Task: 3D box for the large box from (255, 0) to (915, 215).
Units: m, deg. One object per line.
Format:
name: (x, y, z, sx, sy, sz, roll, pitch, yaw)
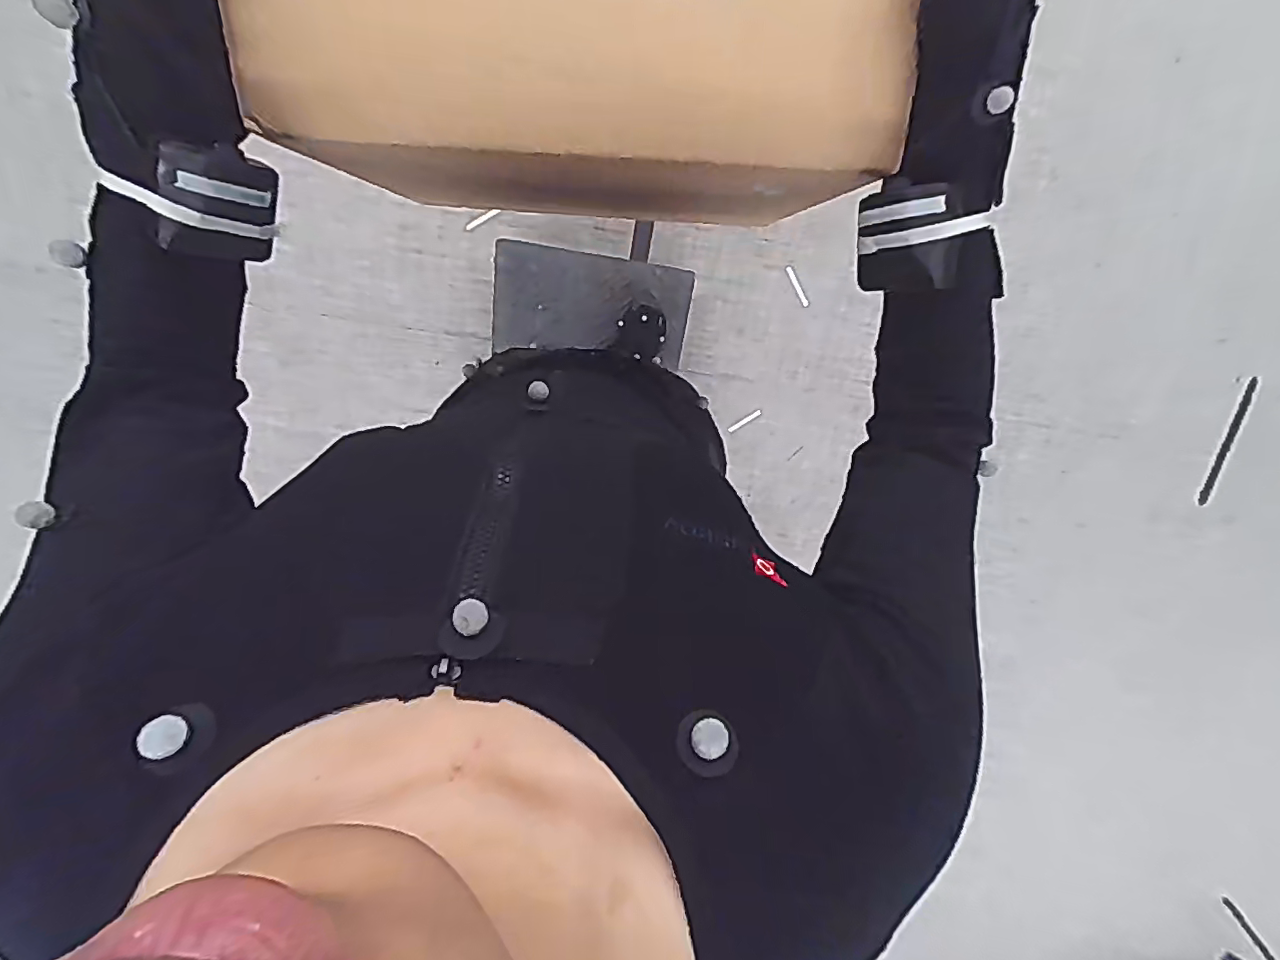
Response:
large box: (-0.035, -0.410, 0.439, 0.408, 0.320, 0.320, 1, 110, -4)
